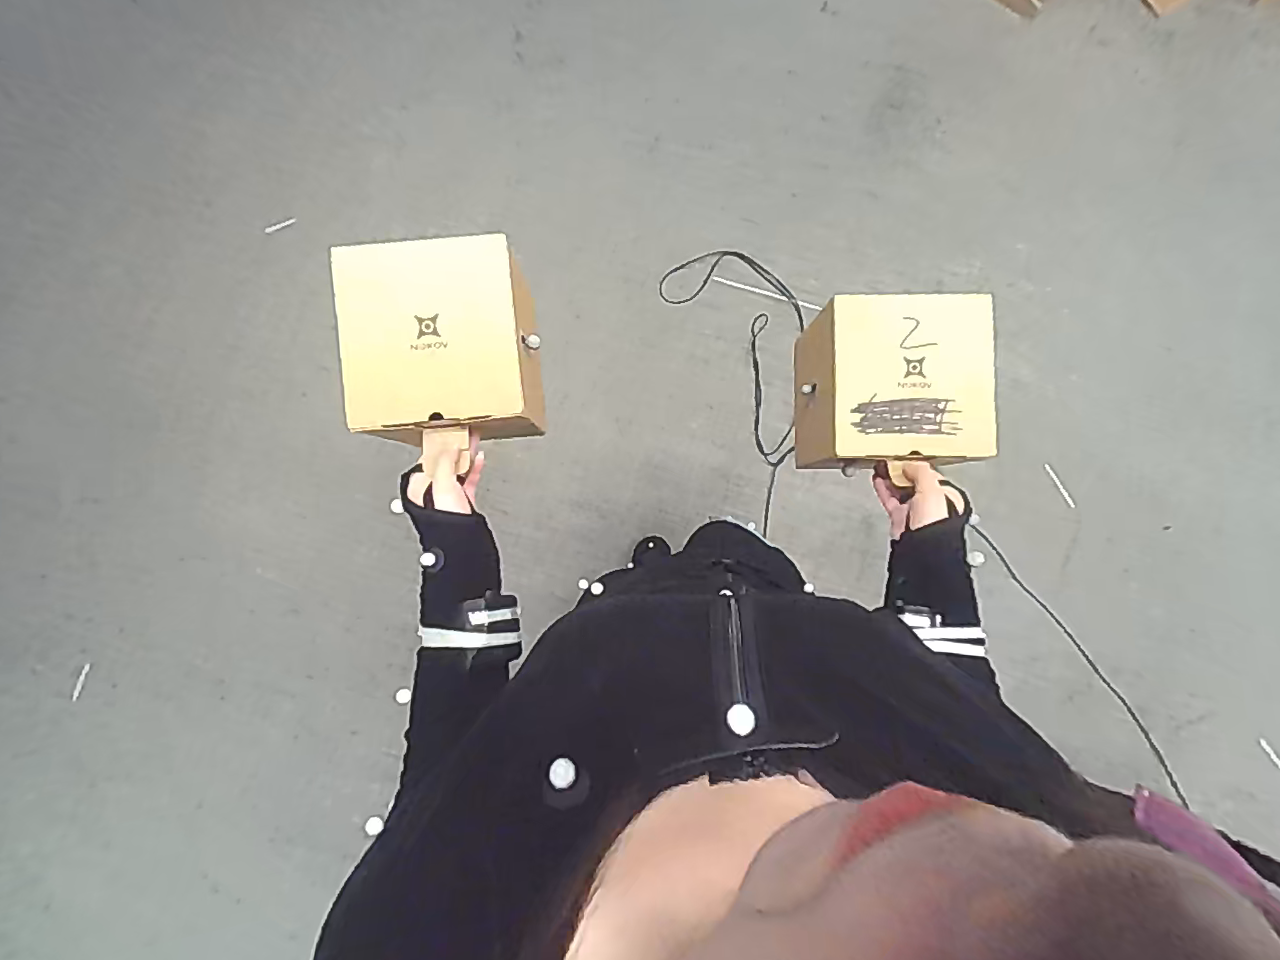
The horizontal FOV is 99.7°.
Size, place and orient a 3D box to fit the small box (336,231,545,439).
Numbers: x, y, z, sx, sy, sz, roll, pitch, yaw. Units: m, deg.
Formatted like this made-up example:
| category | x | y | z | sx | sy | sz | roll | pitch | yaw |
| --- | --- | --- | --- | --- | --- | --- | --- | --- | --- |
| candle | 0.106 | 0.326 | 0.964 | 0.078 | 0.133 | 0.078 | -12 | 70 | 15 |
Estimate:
| category | x | y | z | sx | sy | sz | roll | pitch | yaw |
| --- | --- | --- | --- | --- | --- | --- | --- | --- | --- |
| small box | -0.200 | -0.143 | 0.585 | 0.168 | 0.176 | 0.179 | -5 | 91 | -3 |
